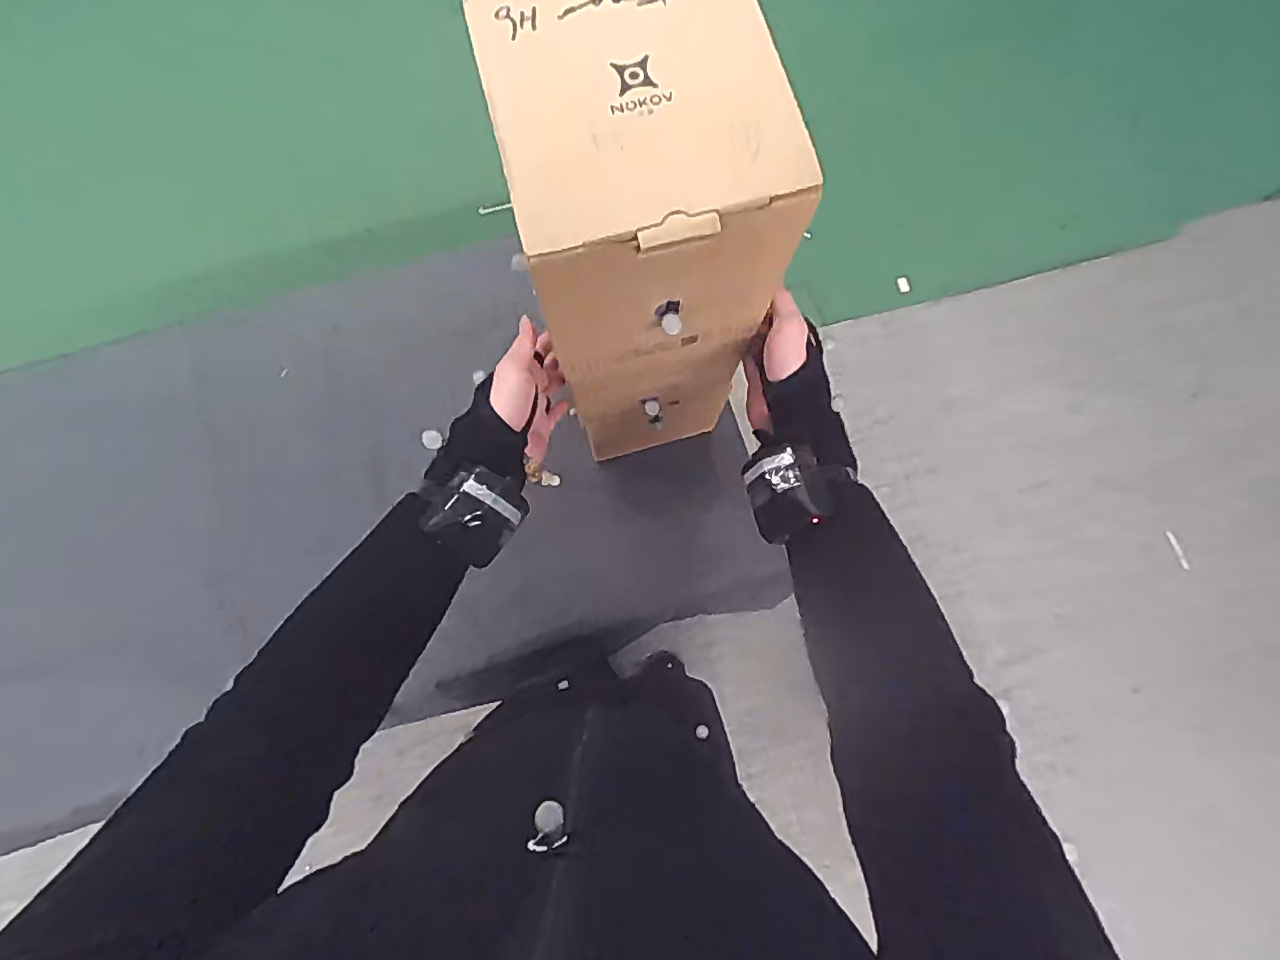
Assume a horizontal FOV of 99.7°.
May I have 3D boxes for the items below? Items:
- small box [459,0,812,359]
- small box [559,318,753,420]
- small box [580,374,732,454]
[{"bbox_3d":[-0.005,-0.200,0.377,0.168,0.176,0.179,-14,80,-3],"label":"small box"},{"bbox_3d":[-0.003,-0.178,0.540,0.168,0.176,0.179,-12,81,-2],"label":"small box"},{"bbox_3d":[0.001,-0.145,0.700,0.179,0.176,0.168,-16,79,-4],"label":"small box"}]
